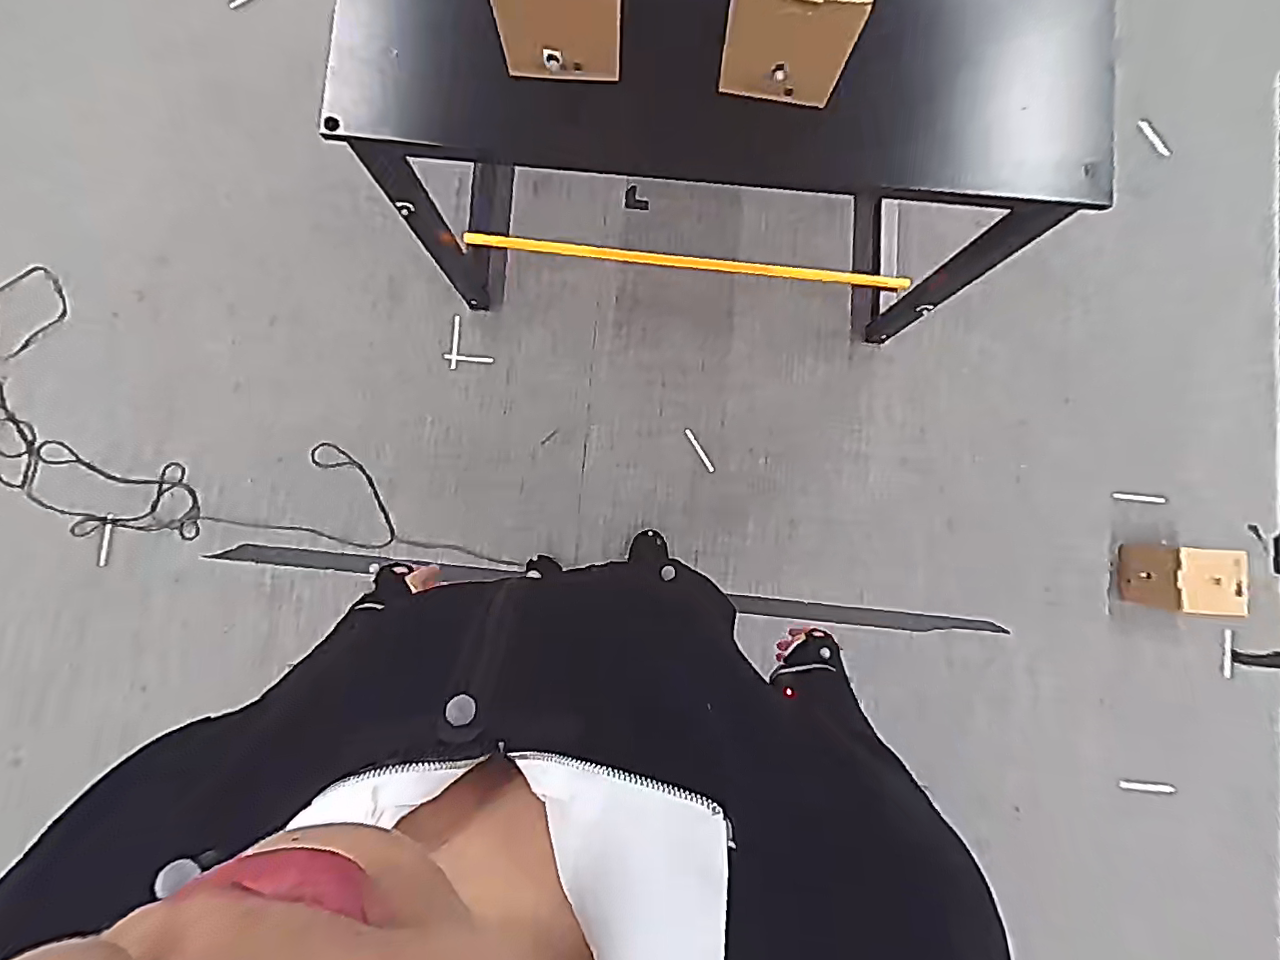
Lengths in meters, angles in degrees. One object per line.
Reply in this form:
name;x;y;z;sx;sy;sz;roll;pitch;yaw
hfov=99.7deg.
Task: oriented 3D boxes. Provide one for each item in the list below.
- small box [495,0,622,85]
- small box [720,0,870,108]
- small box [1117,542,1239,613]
small box;-0.110;-0.697;0.749;0.168;0.176;0.179;1;87;-1
small box;0.213;-0.673;0.755;0.168;0.176;0.179;9;86;-1
small box;1.444;0.258;1.462;0.179;0.176;0.168;4;86;-1
